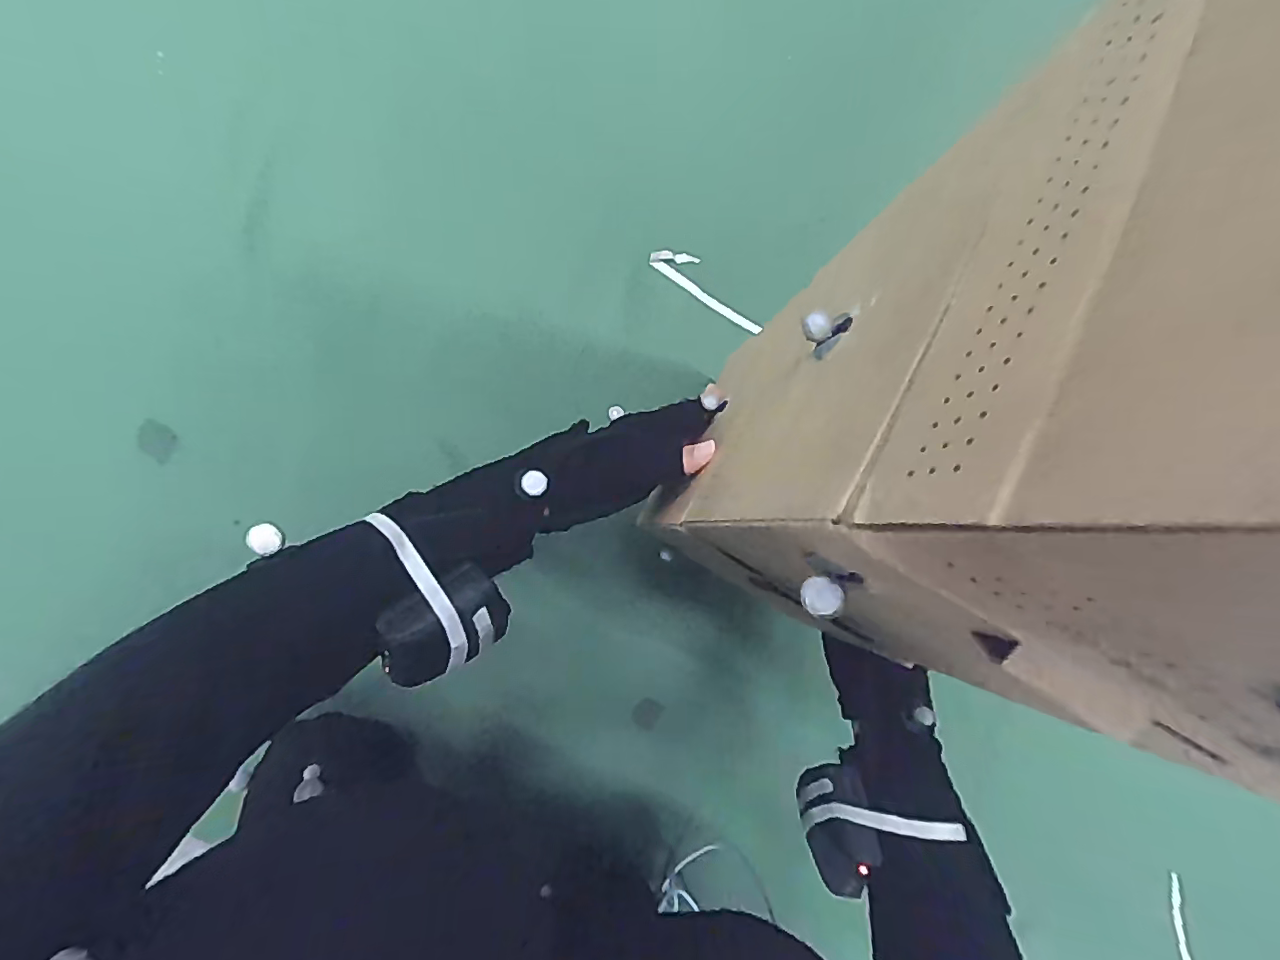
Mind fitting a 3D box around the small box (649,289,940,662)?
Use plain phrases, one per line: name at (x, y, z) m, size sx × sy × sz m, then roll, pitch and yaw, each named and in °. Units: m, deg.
small box at (0.120, 0.002, 0.407) m, size 0.168 × 0.176 × 0.179 m, roll 32°, pitch 81°, yaw -6°
